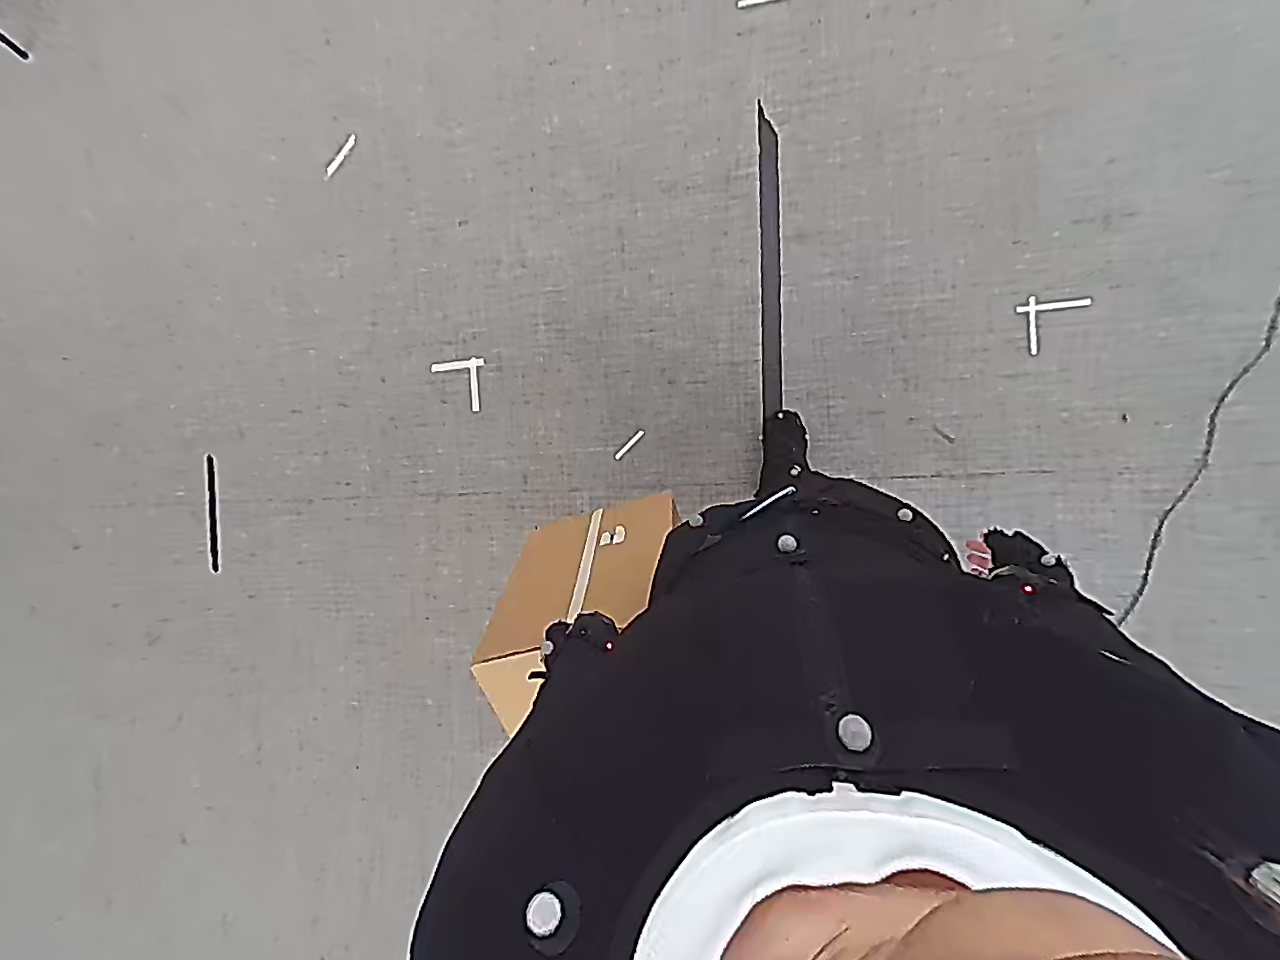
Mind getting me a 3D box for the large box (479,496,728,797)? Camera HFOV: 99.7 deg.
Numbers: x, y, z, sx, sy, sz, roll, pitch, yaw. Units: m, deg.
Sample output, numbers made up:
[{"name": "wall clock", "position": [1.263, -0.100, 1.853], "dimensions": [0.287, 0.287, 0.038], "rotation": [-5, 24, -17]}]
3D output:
[{"name": "large box", "position": [-0.043, 0.283, 1.002], "dimensions": [0.320, 0.408, 0.320], "rotation": [-15, 112, 9]}]
